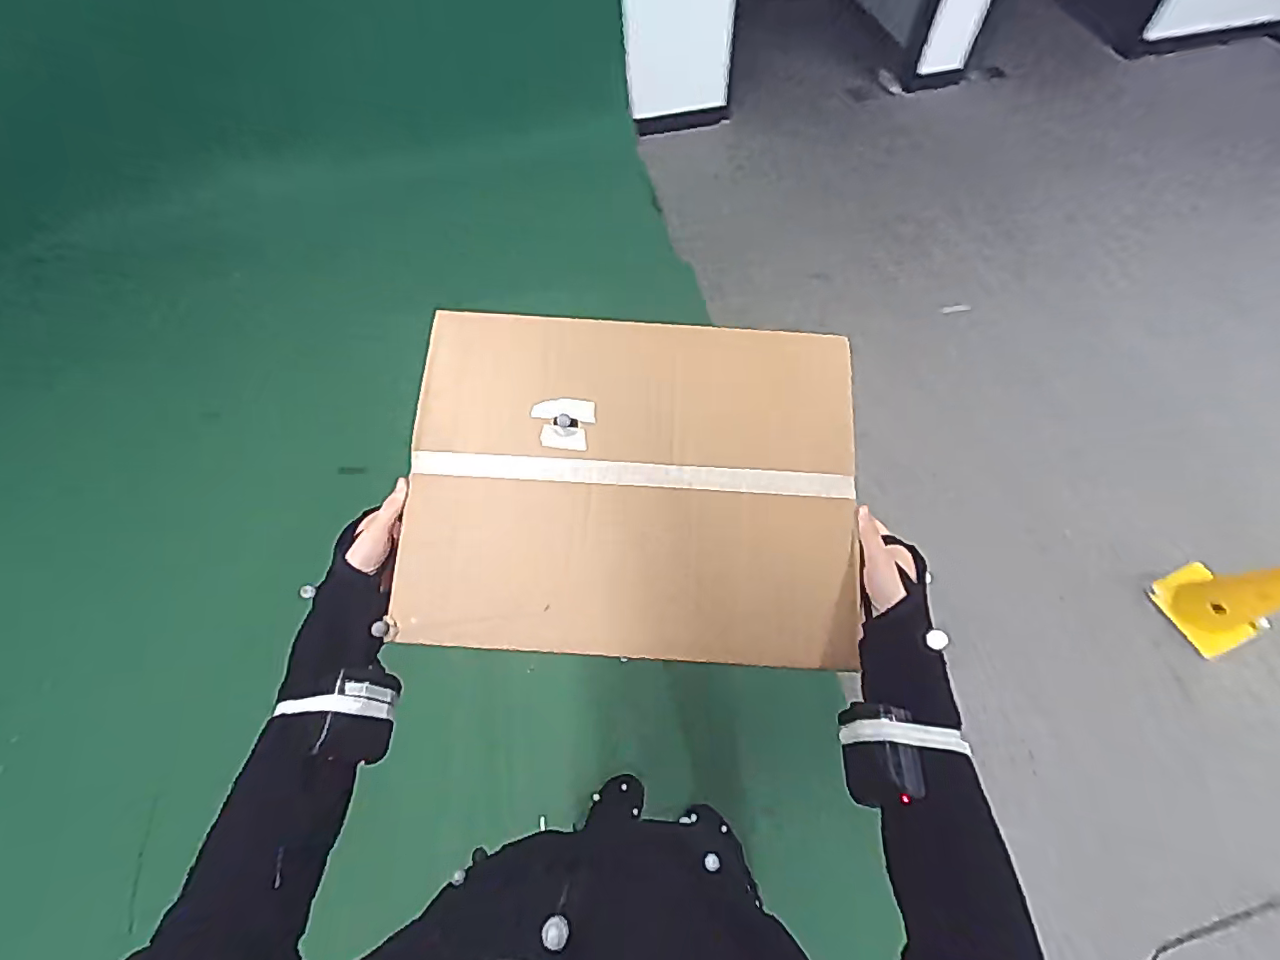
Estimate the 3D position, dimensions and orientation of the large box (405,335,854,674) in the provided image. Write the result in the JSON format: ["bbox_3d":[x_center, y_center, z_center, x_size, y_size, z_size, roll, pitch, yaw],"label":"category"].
[{"bbox_3d":[0.000,0.044,0.652,0.408,0.320,0.320,4,75,2],"label":"large box"}]
